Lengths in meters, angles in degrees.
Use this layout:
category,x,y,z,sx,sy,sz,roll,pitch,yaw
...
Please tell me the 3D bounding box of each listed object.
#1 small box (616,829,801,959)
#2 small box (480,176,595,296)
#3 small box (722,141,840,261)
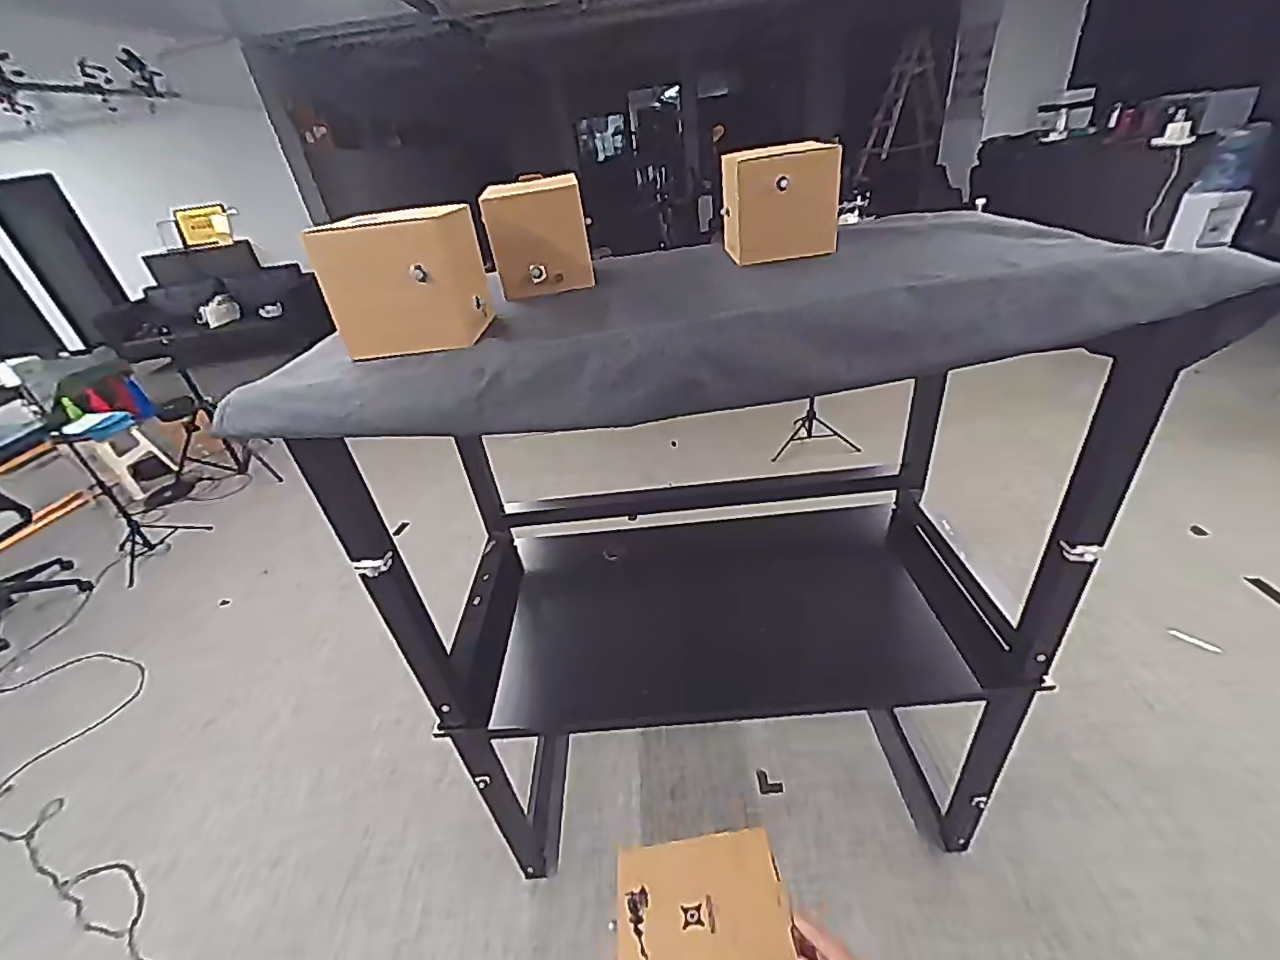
category,x,y,z,sx,sy,sz,roll,pitch,yaw
small box,0.074,0.513,0.570,0.179,0.176,0.168,-9,17,2
small box,-0.179,-0.448,0.991,0.168,0.176,0.179,-11,33,-2
small box,0.250,-0.508,0.987,0.179,0.176,0.168,-6,34,3
